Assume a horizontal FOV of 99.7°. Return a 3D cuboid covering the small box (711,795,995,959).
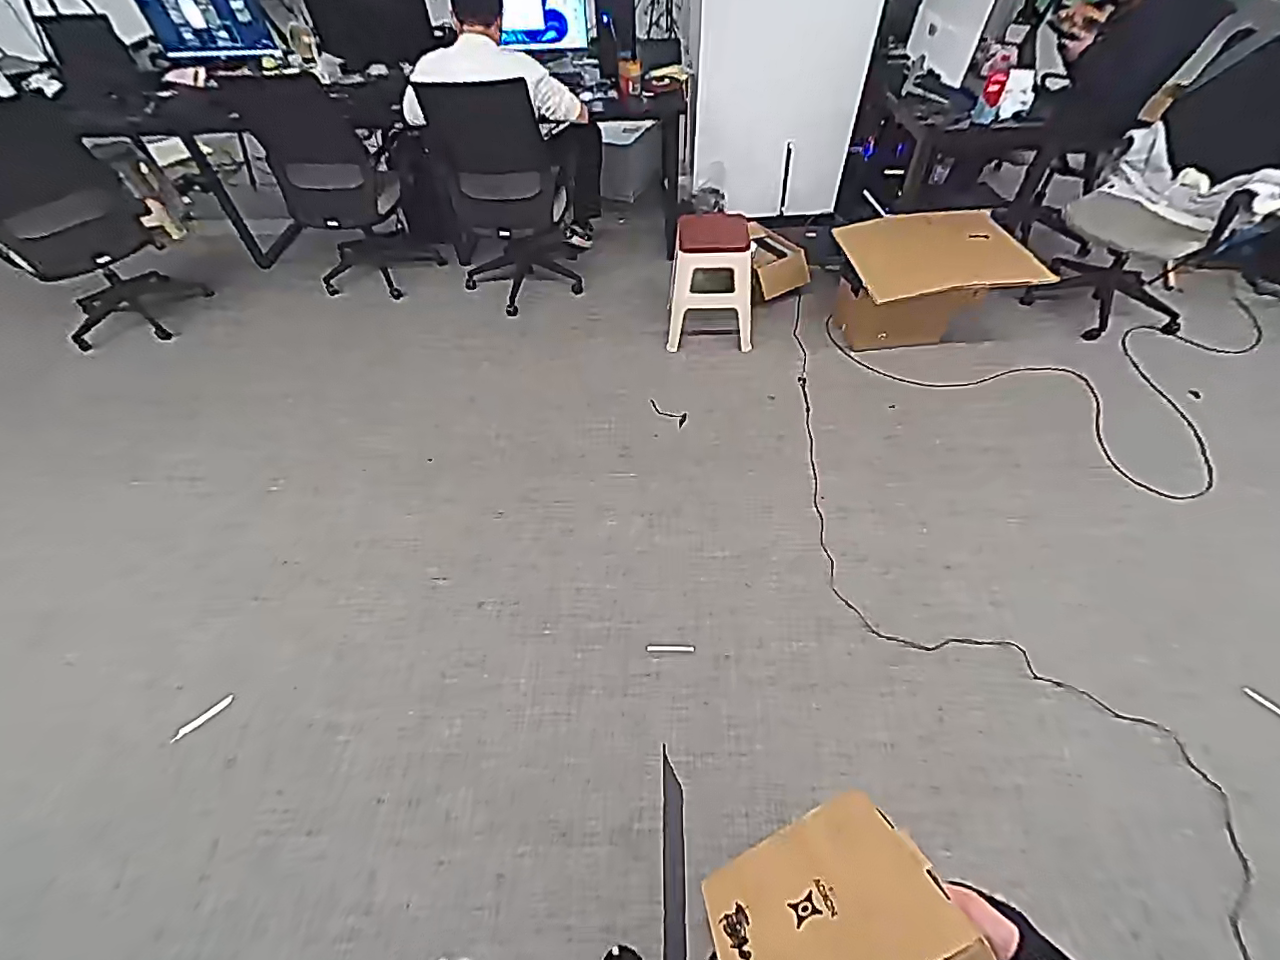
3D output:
[{"bbox_3d":[0.184,0.413,0.436,0.179,0.168,0.176,-29,92,-3],"label":"small box"}]
